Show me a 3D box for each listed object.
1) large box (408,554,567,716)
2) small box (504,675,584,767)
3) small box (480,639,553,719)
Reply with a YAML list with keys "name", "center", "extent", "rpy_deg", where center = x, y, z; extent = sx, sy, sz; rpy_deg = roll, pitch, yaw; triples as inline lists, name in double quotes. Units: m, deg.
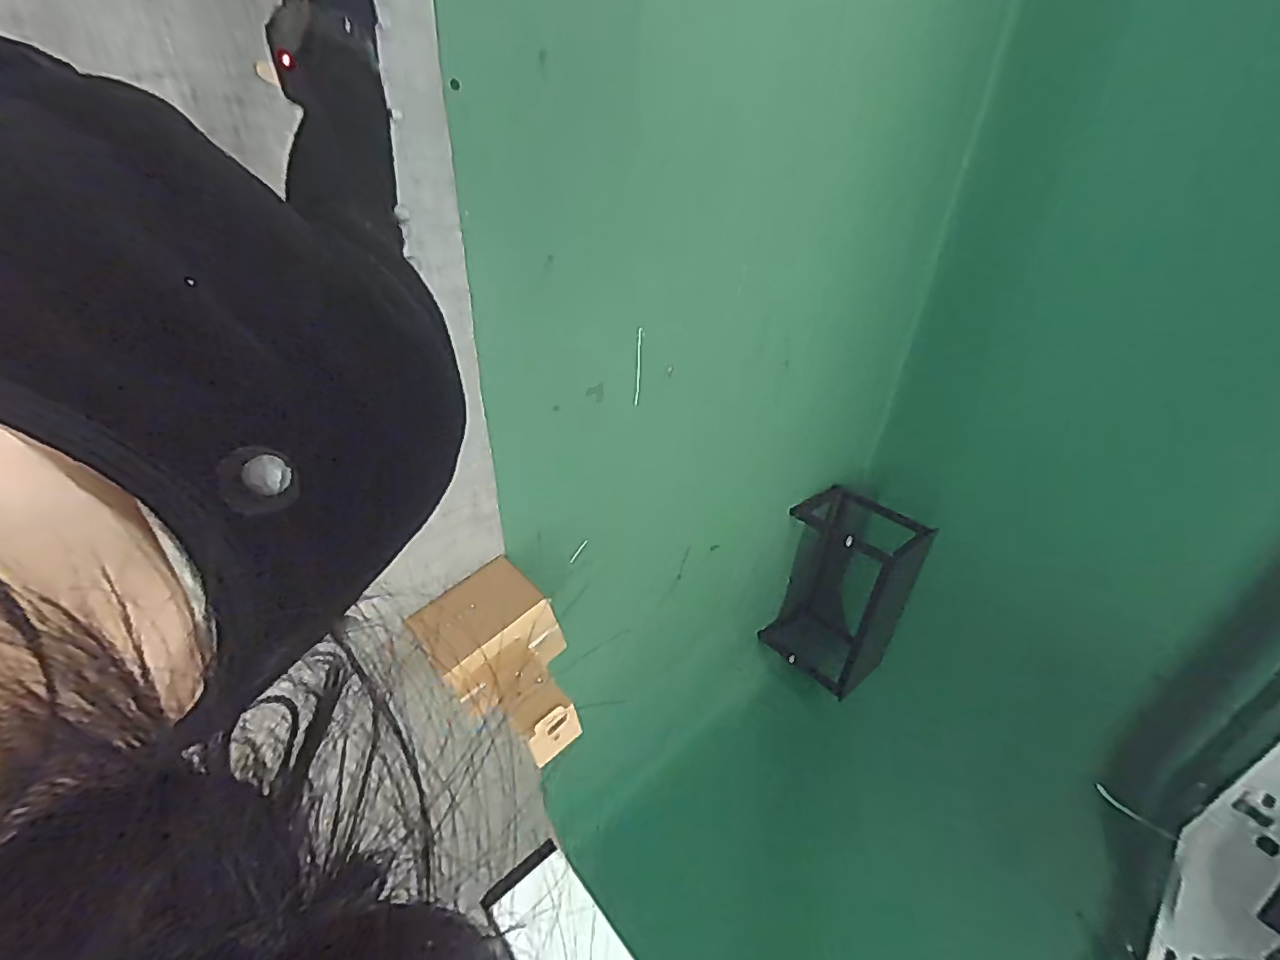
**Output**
- name: "large box"
  center: [-0.544, 0.550, 1.963]
  extent: [0.408, 0.320, 0.320]
  rpy_deg: [-36, 138, -26]
- name: "small box"
  center: [-0.302, 0.742, 1.692]
  extent: [0.168, 0.176, 0.179]
  rpy_deg: [-31, 133, -29]
- name: "small box"
  center: [-0.403, 0.667, 1.797]
  extent: [0.179, 0.176, 0.168]
  rpy_deg: [-32, 133, -27]
